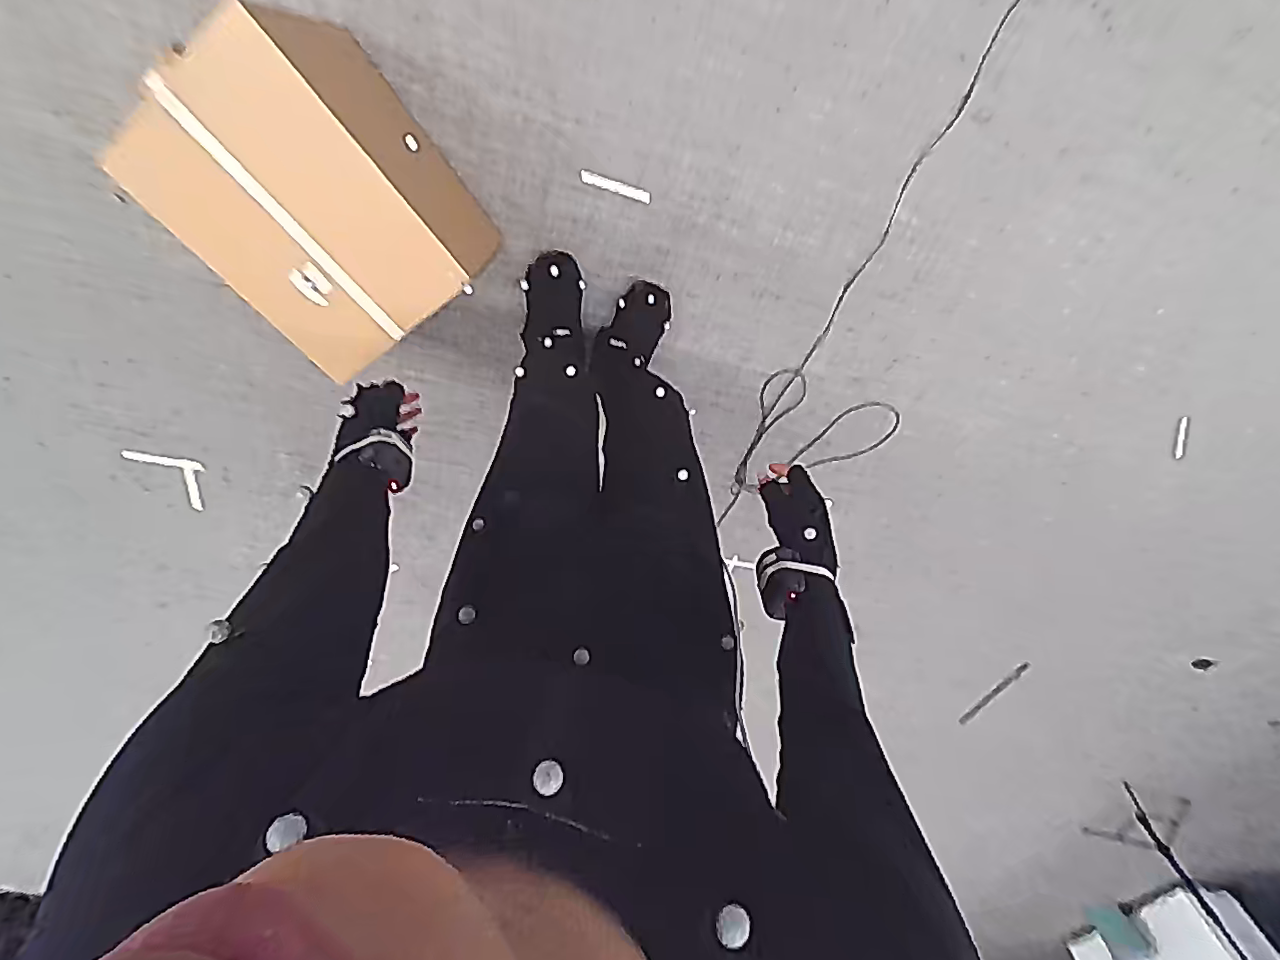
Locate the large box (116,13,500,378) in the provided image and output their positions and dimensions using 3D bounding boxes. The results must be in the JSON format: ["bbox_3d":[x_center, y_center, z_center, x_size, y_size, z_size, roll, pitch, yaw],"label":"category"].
[{"bbox_3d":[-0.509,-0.465,0.931,0.320,0.320,0.408,-30,122,18],"label":"large box"}]
